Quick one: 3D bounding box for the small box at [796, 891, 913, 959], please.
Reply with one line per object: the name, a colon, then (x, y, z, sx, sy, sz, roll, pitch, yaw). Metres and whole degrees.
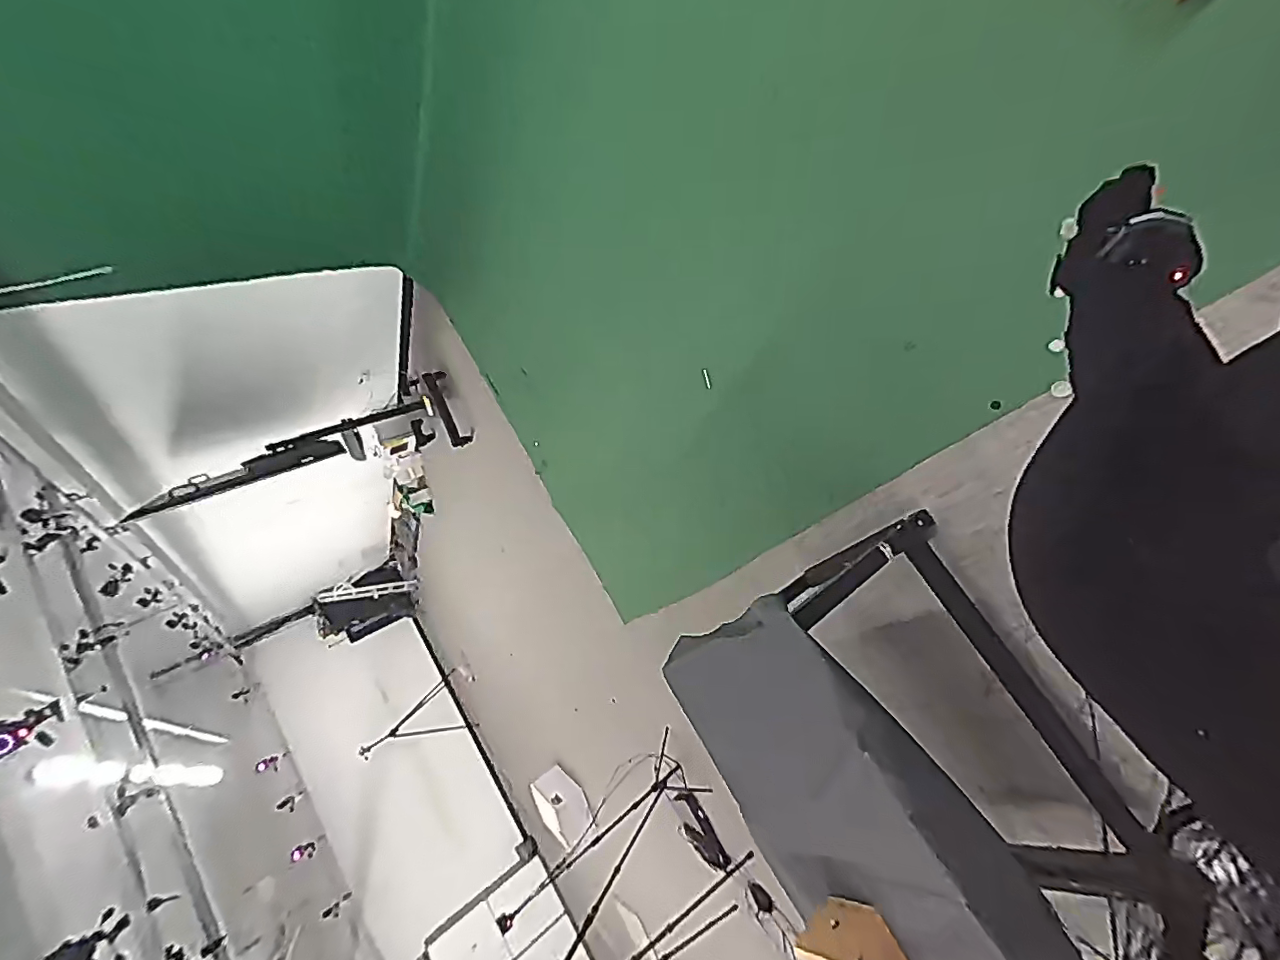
small box: (0.521, 1.142, 1.303, 0.179, 0.176, 0.168, 58, 144, 10)
